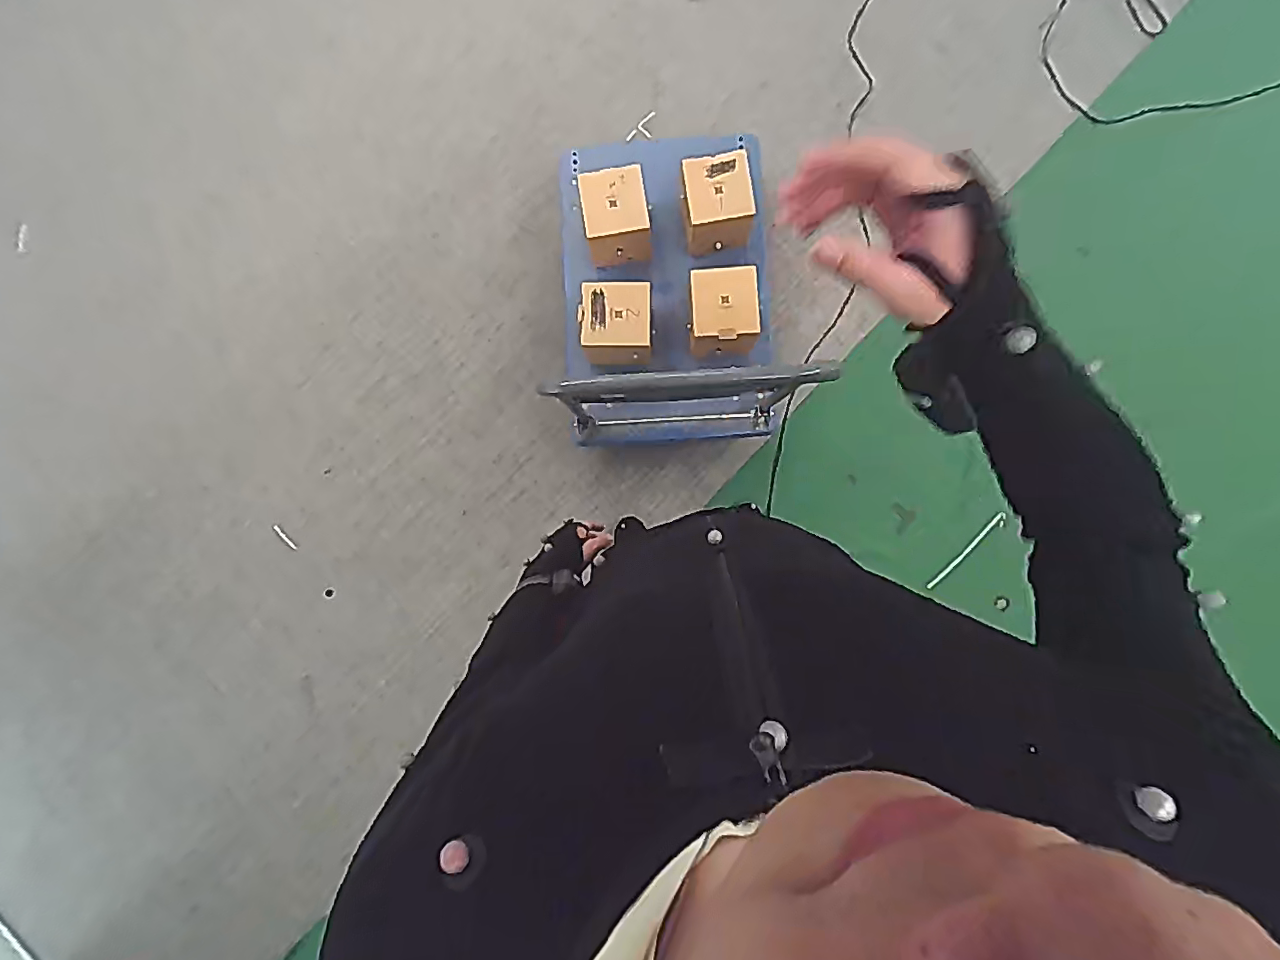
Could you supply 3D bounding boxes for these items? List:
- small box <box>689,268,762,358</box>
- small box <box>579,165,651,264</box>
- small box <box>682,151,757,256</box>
[{"bbox_3d":[0.219,-0.433,1.420,0.168,0.176,0.179,-3,87,2],"label":"small box"},{"bbox_3d":[-0.061,-0.699,1.449,0.168,0.176,0.179,-9,86,1],"label":"small box"},{"bbox_3d":[0.206,-0.729,1.438,0.168,0.176,0.179,-8,87,3],"label":"small box"}]
